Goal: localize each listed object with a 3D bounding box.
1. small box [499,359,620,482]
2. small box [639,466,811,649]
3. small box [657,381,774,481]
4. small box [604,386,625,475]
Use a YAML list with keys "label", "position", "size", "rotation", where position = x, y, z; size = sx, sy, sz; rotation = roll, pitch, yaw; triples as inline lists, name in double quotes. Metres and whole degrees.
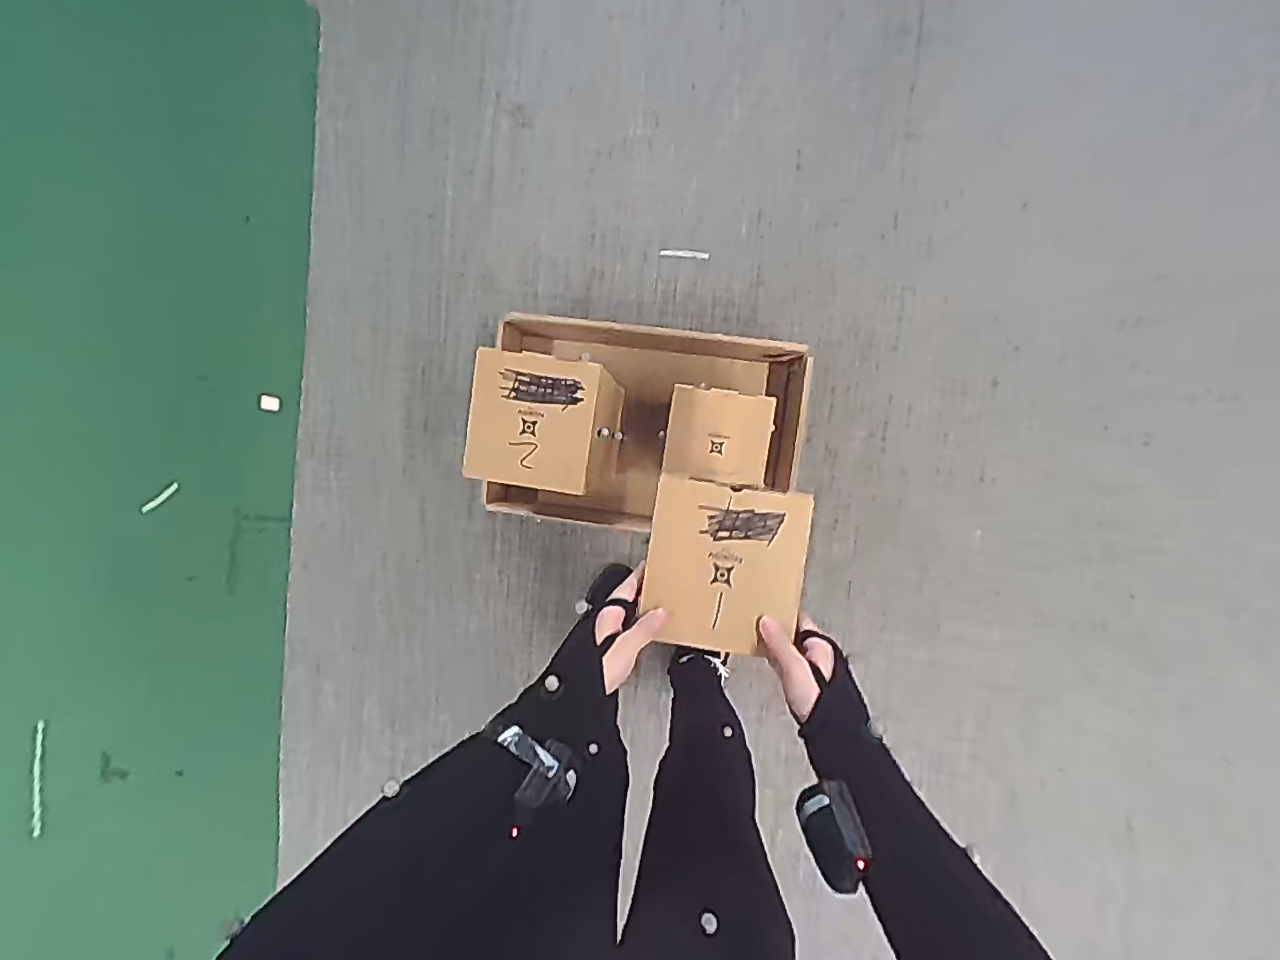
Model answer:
- label: "small box"
  position: [-0.133, -0.101, 0.960]
  size: [0.168, 0.176, 0.179]
  rotation: [12, 94, 2]
- label: "small box"
  position: [0.092, 0.085, 0.658]
  size: [0.168, 0.176, 0.179]
  rotation: [9, 89, 1]
- label: "small box"
  position: [0.126, -0.068, 0.952]
  size: [0.168, 0.176, 0.179]
  rotation: [9, 95, 4]
- label: "small box"
  position: [-0.122, -0.111, 1.124]
  size: [0.168, 0.176, 0.179]
  rotation: [6, 95, 1]
